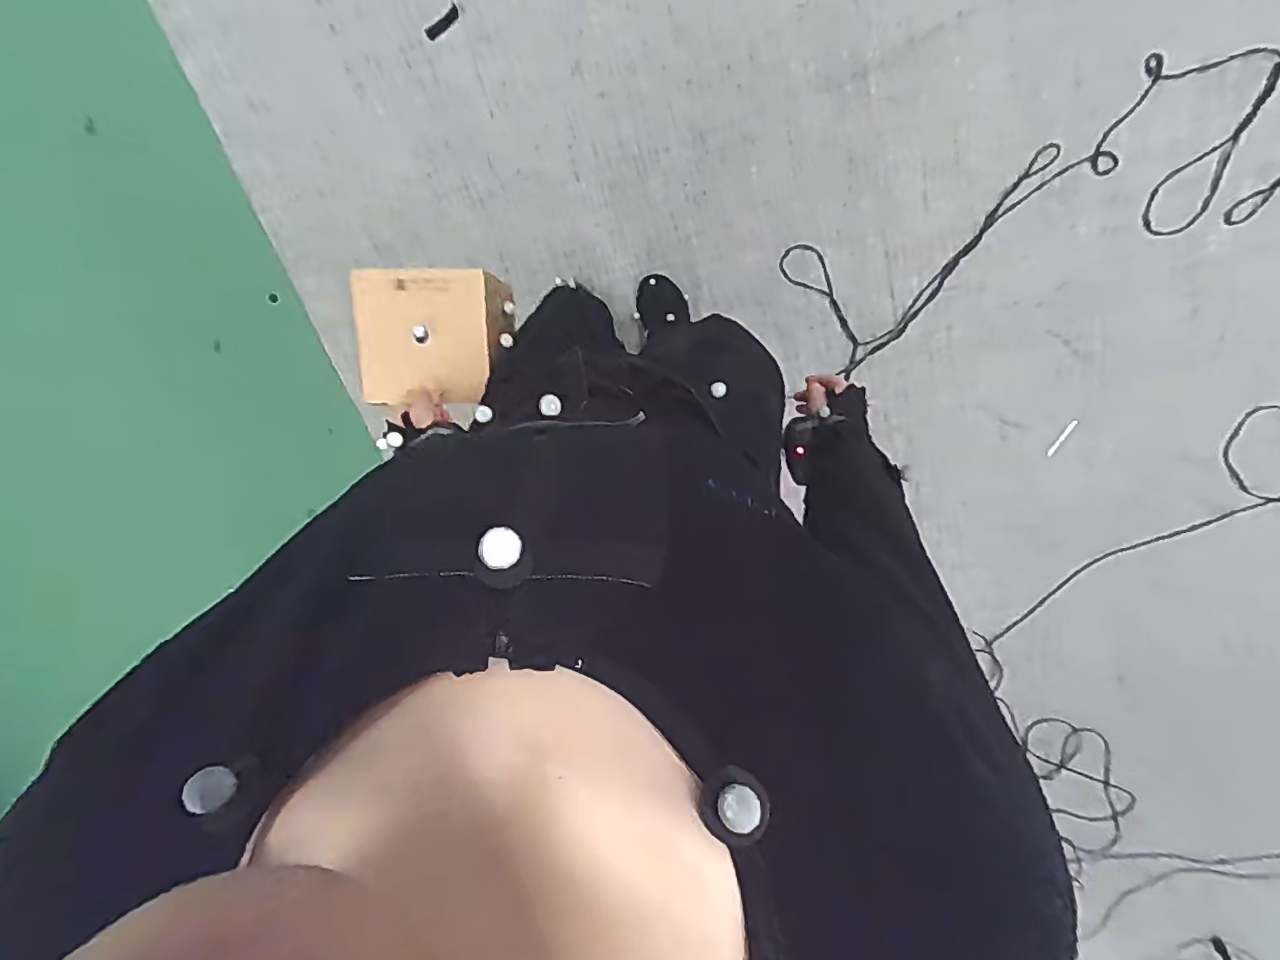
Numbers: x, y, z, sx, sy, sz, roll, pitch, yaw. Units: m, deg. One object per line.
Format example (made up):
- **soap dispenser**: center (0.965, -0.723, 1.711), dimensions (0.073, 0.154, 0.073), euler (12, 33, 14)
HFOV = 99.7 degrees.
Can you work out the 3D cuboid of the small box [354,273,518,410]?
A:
- **small box**: center (-0.276, -0.196, 0.763), dimensions (0.168, 0.179, 0.176), euler (-2, 105, -1)
